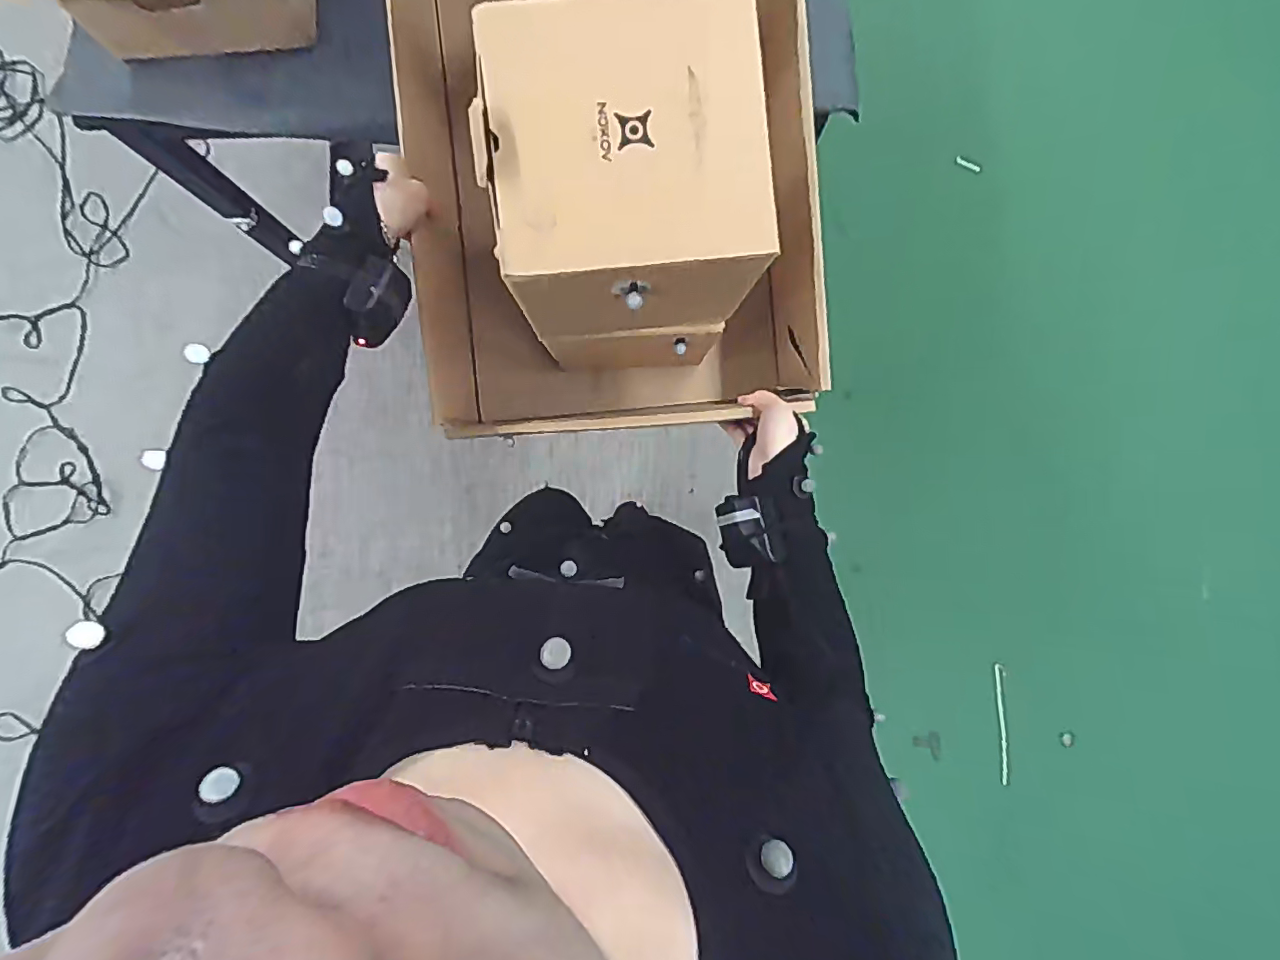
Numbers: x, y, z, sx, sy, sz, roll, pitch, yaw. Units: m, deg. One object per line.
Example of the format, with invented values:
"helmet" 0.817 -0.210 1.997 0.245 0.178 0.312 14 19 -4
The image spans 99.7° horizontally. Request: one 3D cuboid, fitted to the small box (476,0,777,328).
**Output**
"small box" -0.010 -0.223 0.415 0.179 0.176 0.168 -7 93 -3
